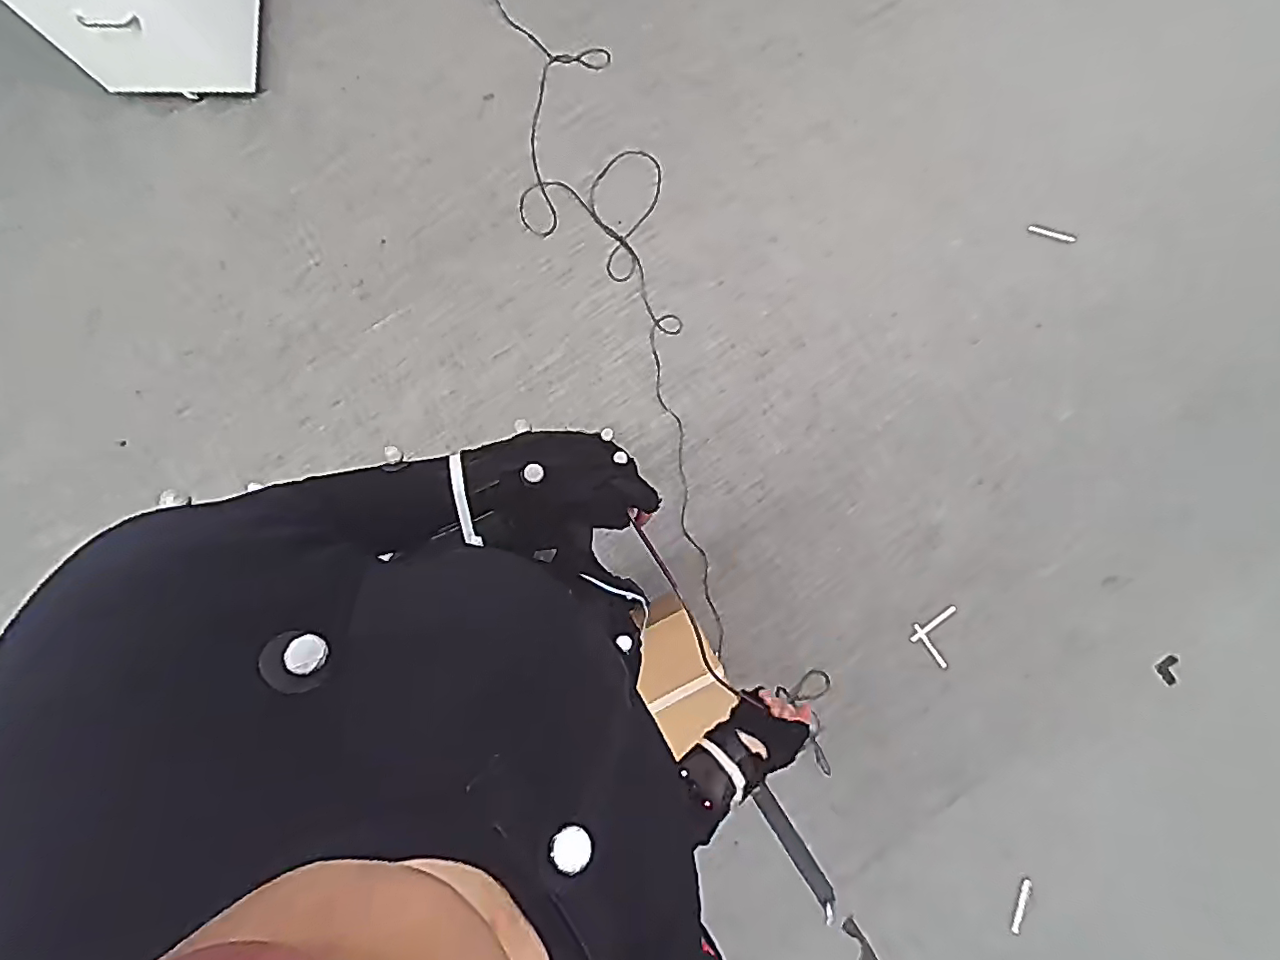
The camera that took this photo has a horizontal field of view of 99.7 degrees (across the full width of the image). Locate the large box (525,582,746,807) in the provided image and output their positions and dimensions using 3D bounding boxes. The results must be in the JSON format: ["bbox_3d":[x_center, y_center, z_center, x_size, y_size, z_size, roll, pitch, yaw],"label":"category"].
[{"bbox_3d":[-0.011,0.489,1.325,0.408,0.320,0.320,-26,86,-3],"label":"large box"}]
